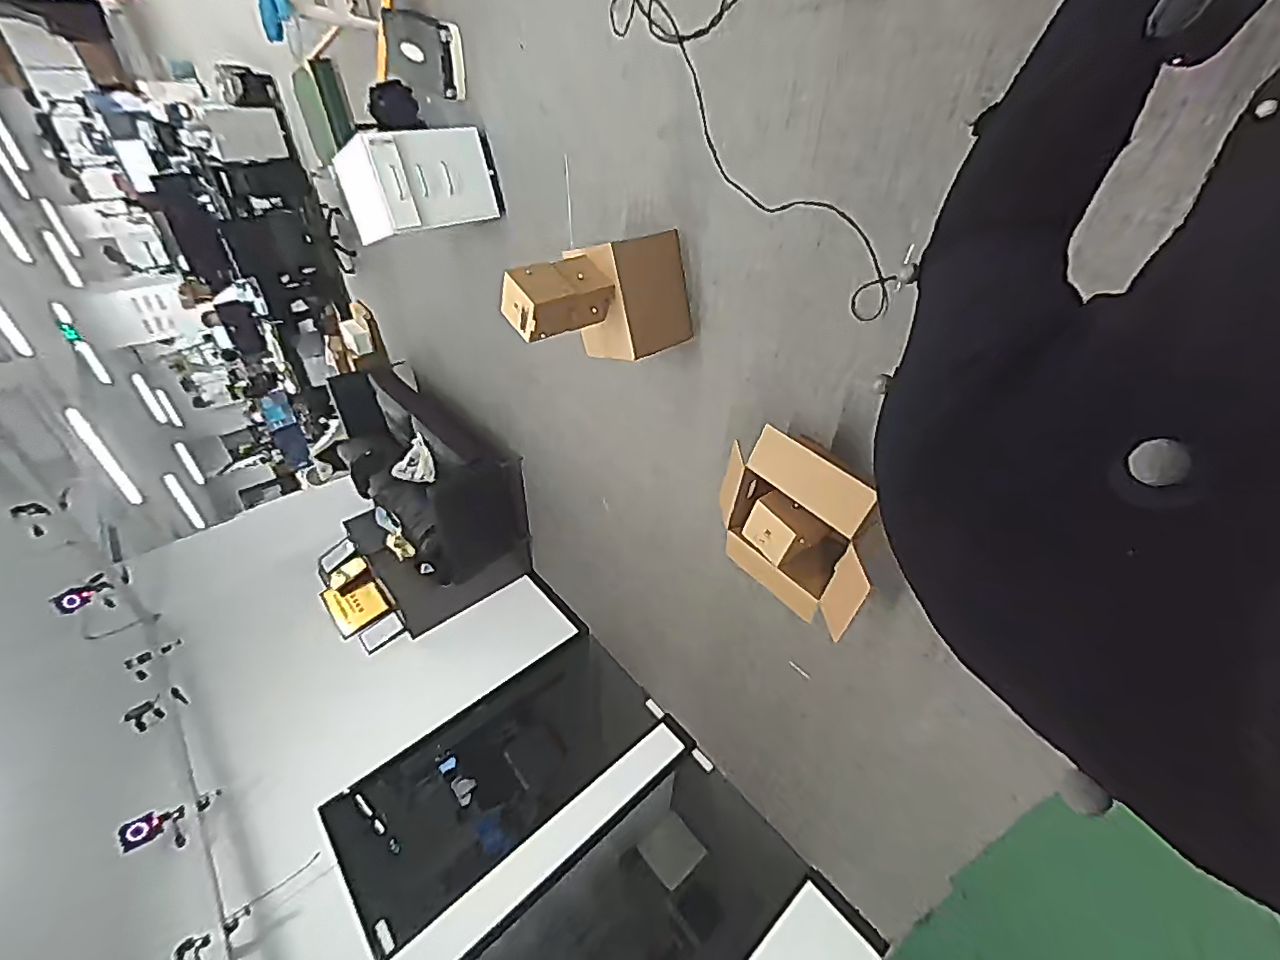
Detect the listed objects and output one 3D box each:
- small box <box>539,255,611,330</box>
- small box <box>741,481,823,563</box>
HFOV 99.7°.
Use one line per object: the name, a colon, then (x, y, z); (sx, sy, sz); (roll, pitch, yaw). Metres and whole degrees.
small box: (-0.228, -0.666, 1.907); (0.179, 0.176, 0.168); (49, 145, 16)
small box: (0.465, 0.130, 1.759); (0.168, 0.176, 0.179); (46, 145, 29)
